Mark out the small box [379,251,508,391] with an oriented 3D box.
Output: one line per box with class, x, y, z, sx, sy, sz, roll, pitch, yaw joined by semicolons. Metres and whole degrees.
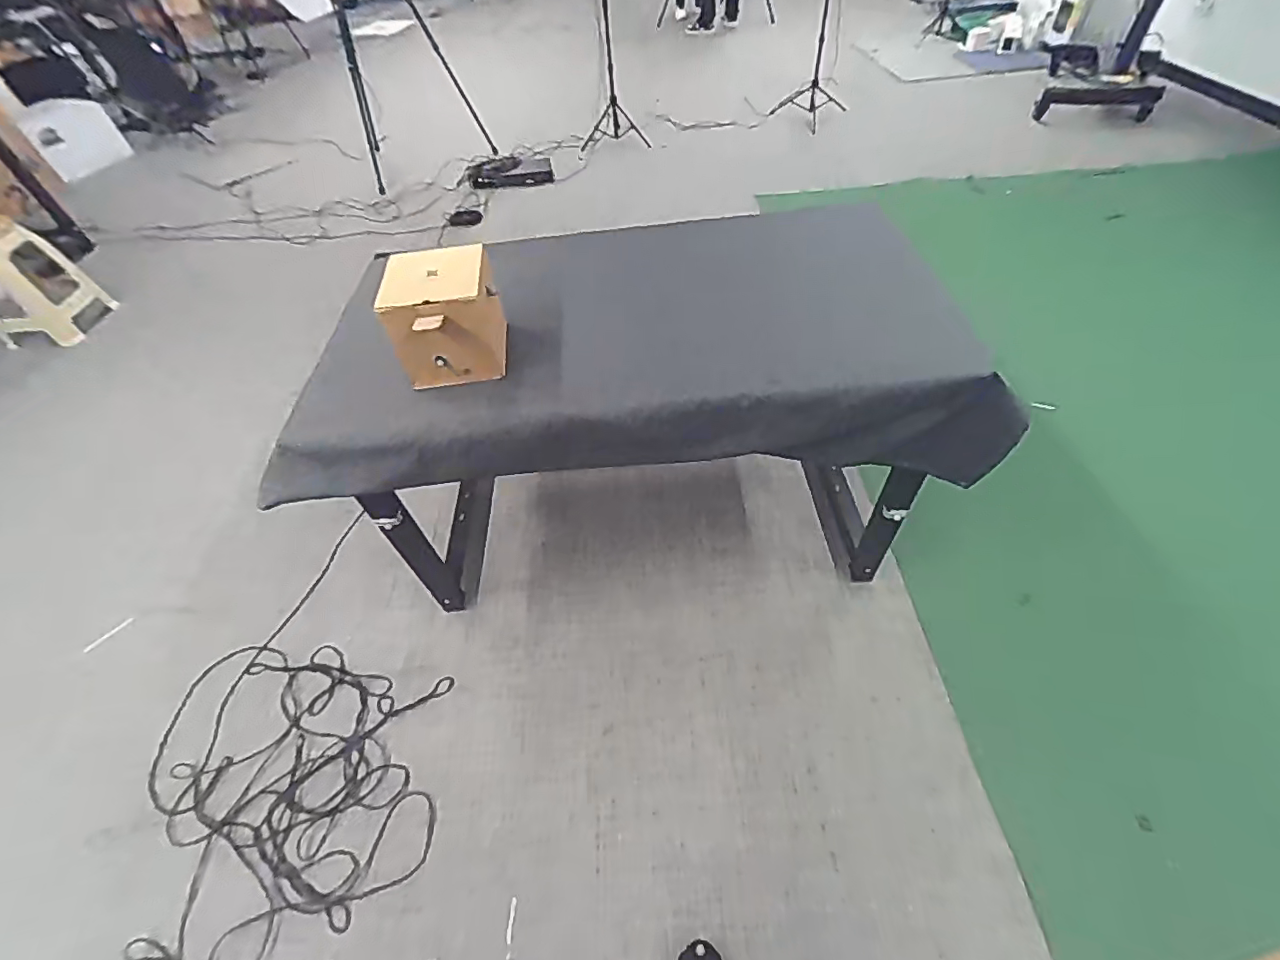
small box;-0.338;-0.283;0.967;0.168;0.176;0.179;-8;50;-3
